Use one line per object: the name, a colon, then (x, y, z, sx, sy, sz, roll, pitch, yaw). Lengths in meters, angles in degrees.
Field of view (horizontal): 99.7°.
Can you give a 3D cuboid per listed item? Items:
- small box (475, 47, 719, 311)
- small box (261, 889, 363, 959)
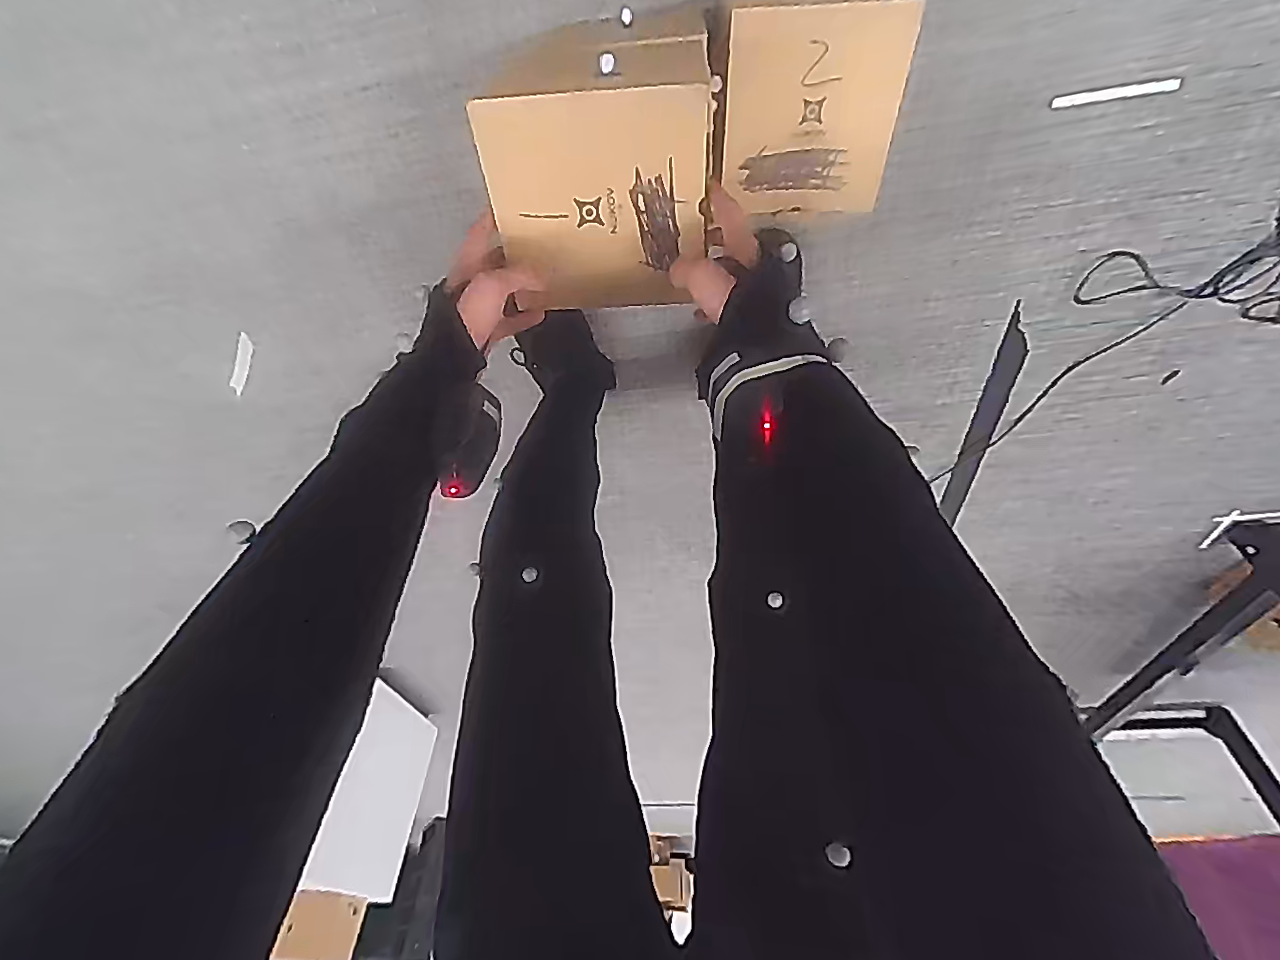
small box: (-0.024, -0.271, 0.488, 0.179, 0.176, 0.168, 0, 136, 5)
small box: (-0.987, 1.359, 1.644, 0.179, 0.176, 0.168, -2, 137, 6)
